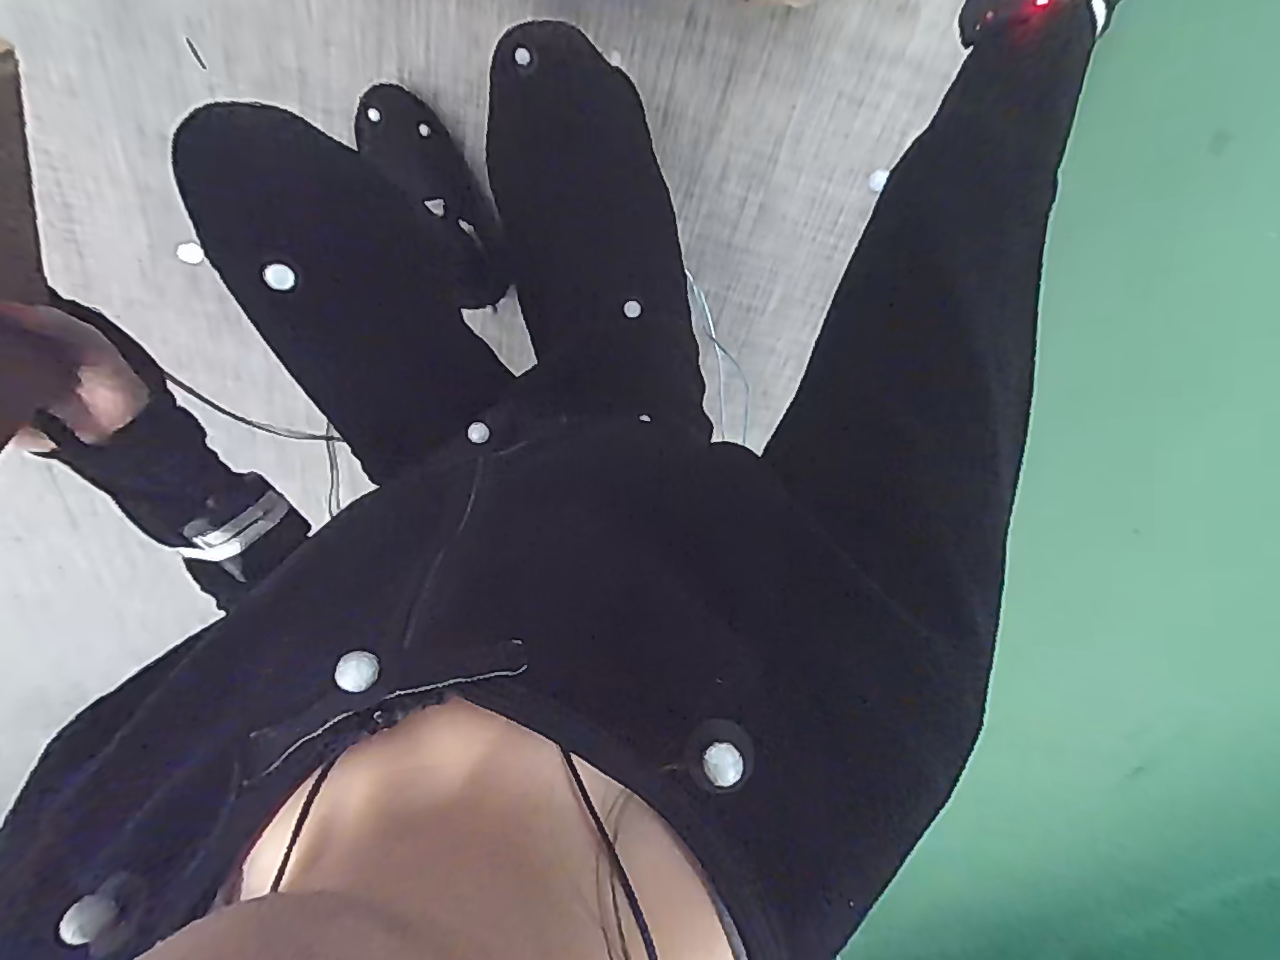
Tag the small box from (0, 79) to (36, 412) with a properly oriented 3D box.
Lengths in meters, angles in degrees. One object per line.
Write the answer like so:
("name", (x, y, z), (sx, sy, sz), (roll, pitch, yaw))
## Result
("small box", (-0.330, -0.074, 0.156), (0.168, 0.176, 0.179), (12, 129, -32))
